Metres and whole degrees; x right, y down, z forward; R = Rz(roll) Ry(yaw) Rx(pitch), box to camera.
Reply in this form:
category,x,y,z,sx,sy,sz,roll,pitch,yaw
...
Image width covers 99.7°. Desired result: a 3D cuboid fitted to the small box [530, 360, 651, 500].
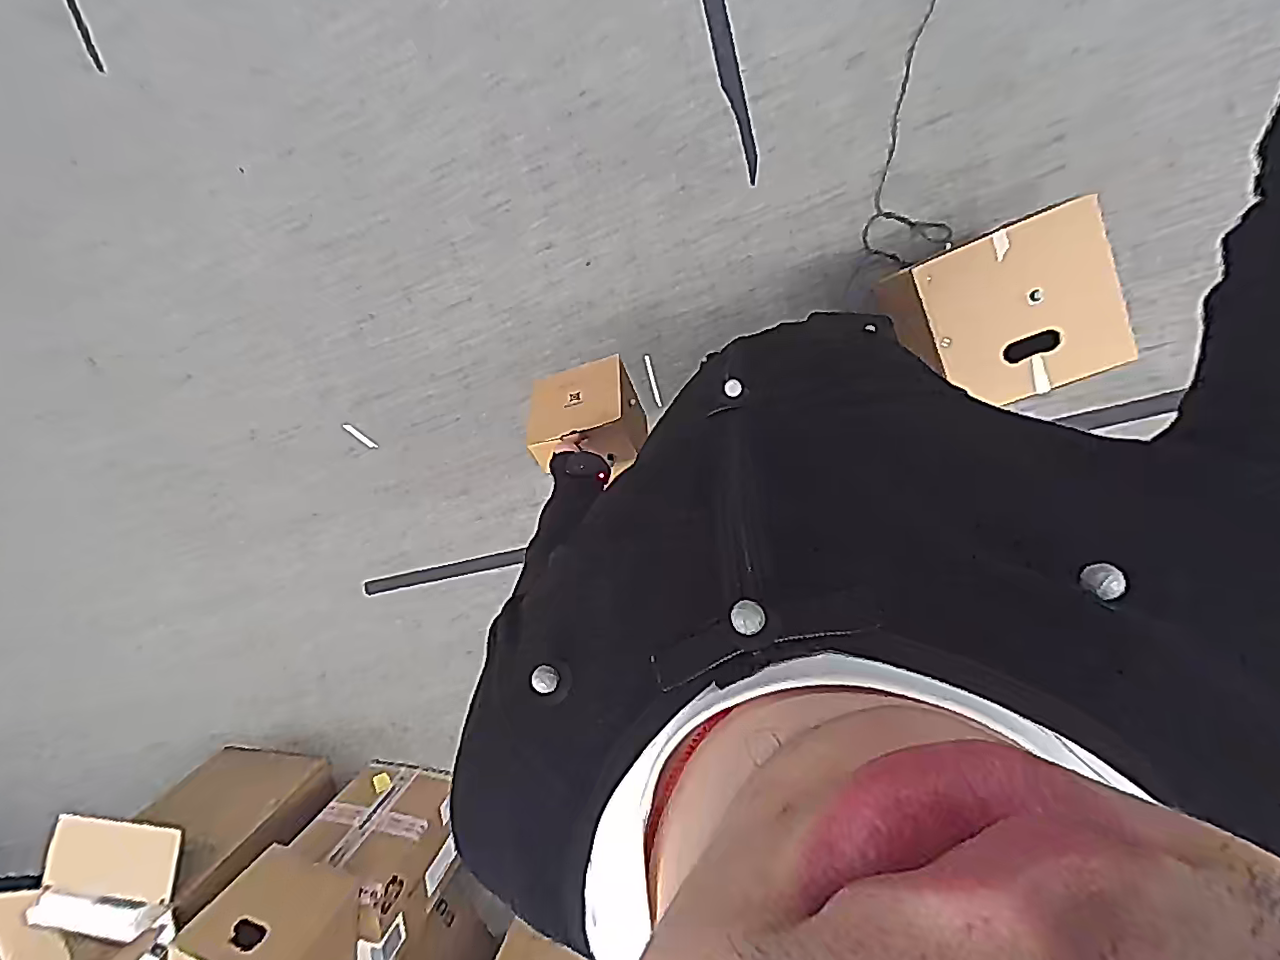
category,x,y,z,sx,sy,sz,roll,pitch,yaw
small box,-0.083,-0.081,0.983,0.168,0.179,0.176,-14,138,11
